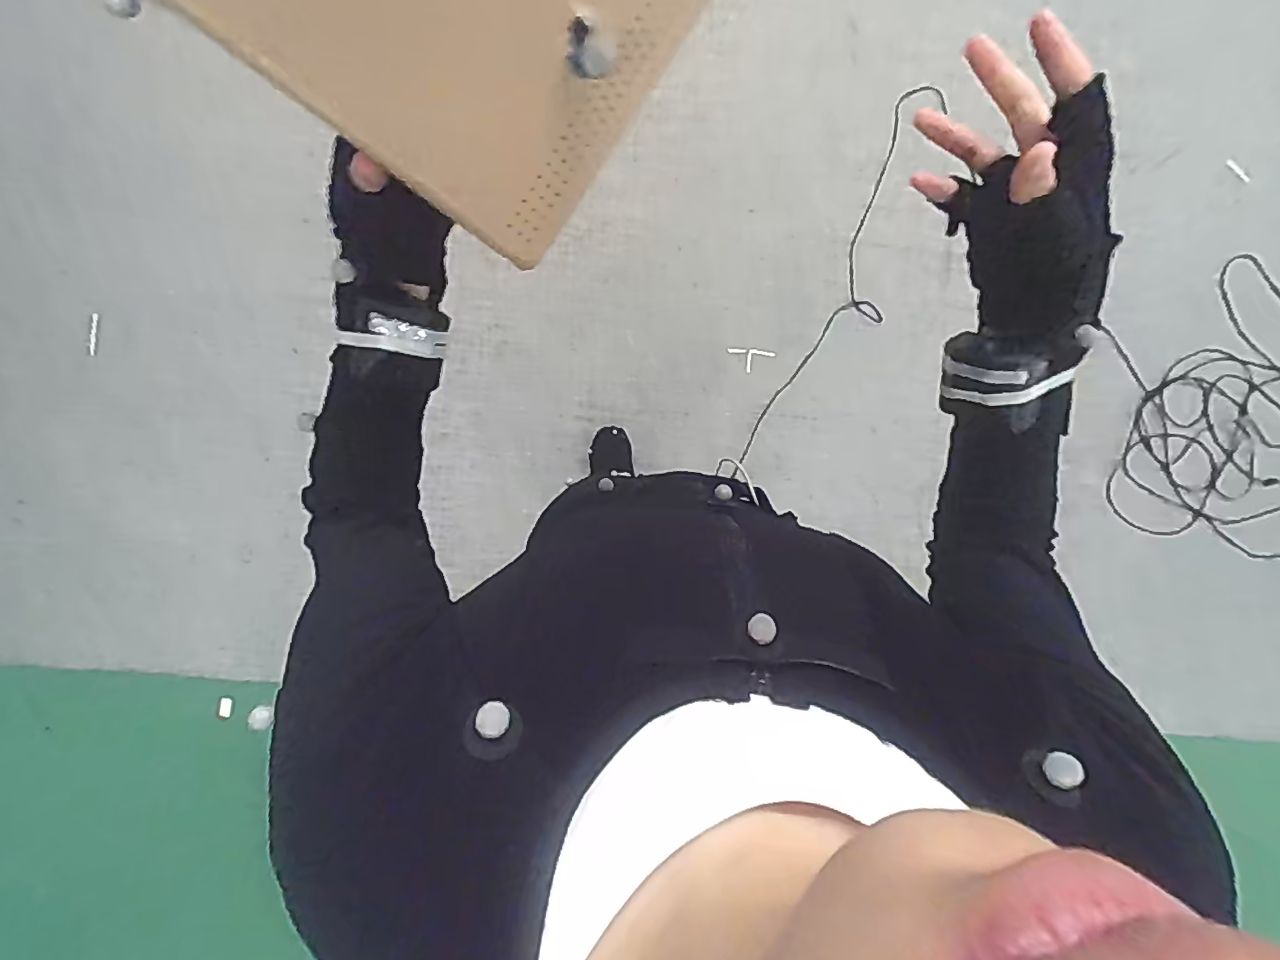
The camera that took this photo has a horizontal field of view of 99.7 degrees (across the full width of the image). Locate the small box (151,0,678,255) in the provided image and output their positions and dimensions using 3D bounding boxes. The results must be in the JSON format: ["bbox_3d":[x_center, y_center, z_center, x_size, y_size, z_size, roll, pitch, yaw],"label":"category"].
[{"bbox_3d":[-0.103,-0.234,0.220,0.168,0.176,0.179,41,101,28],"label":"small box"}]
